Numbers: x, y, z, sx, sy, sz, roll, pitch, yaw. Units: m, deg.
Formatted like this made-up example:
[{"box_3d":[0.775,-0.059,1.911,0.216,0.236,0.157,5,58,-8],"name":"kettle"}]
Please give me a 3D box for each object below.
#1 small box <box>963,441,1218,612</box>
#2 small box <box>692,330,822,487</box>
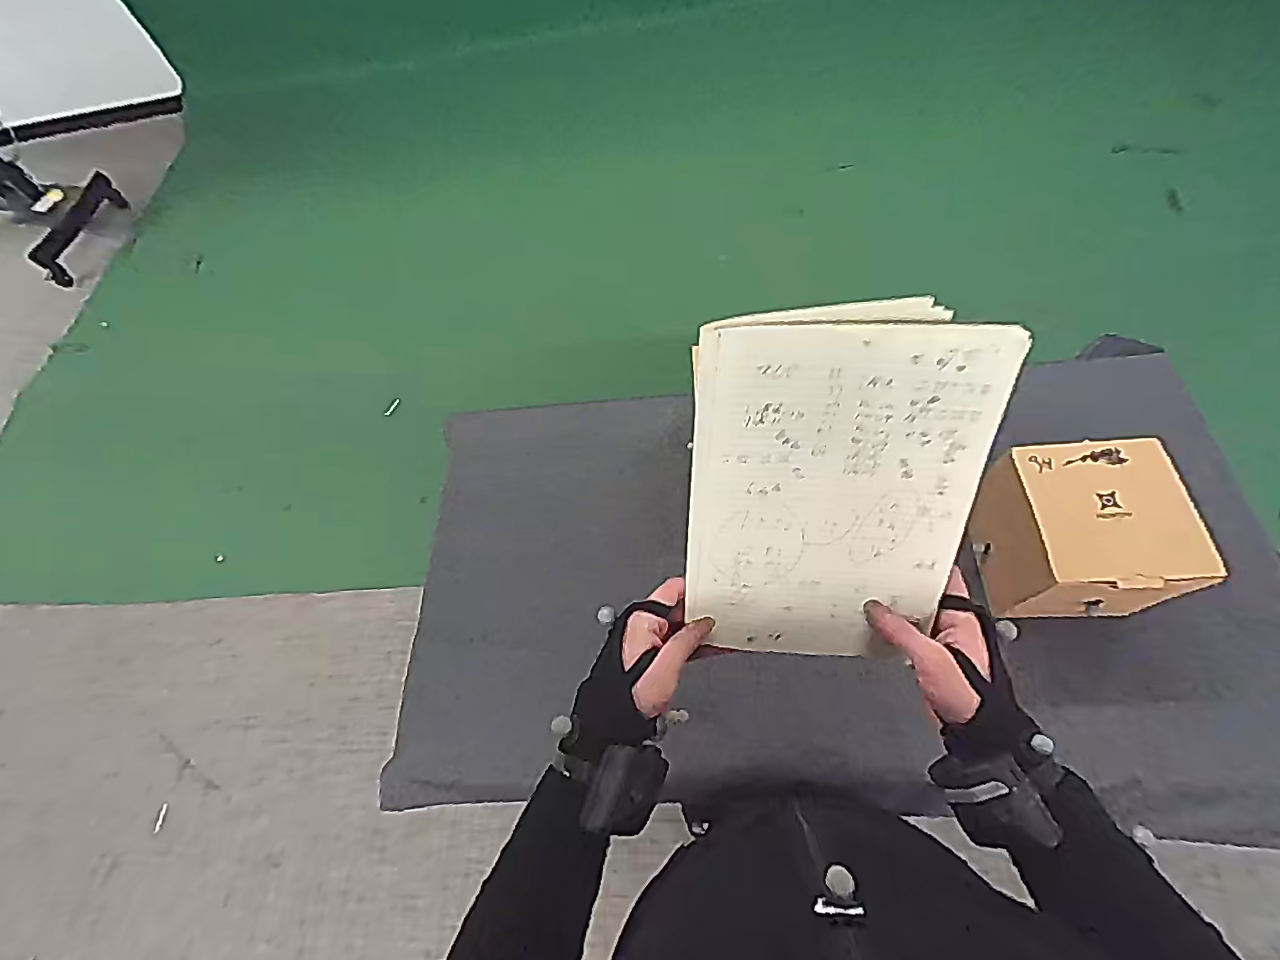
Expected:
[{"box_3d":[0.546,0.069,0.690,0.168,0.176,0.179,-3,65,8],"name":"small box"},{"box_3d":[0.168,-0.097,0.819,0.168,0.176,0.179,-4,63,6],"name":"small box"}]
